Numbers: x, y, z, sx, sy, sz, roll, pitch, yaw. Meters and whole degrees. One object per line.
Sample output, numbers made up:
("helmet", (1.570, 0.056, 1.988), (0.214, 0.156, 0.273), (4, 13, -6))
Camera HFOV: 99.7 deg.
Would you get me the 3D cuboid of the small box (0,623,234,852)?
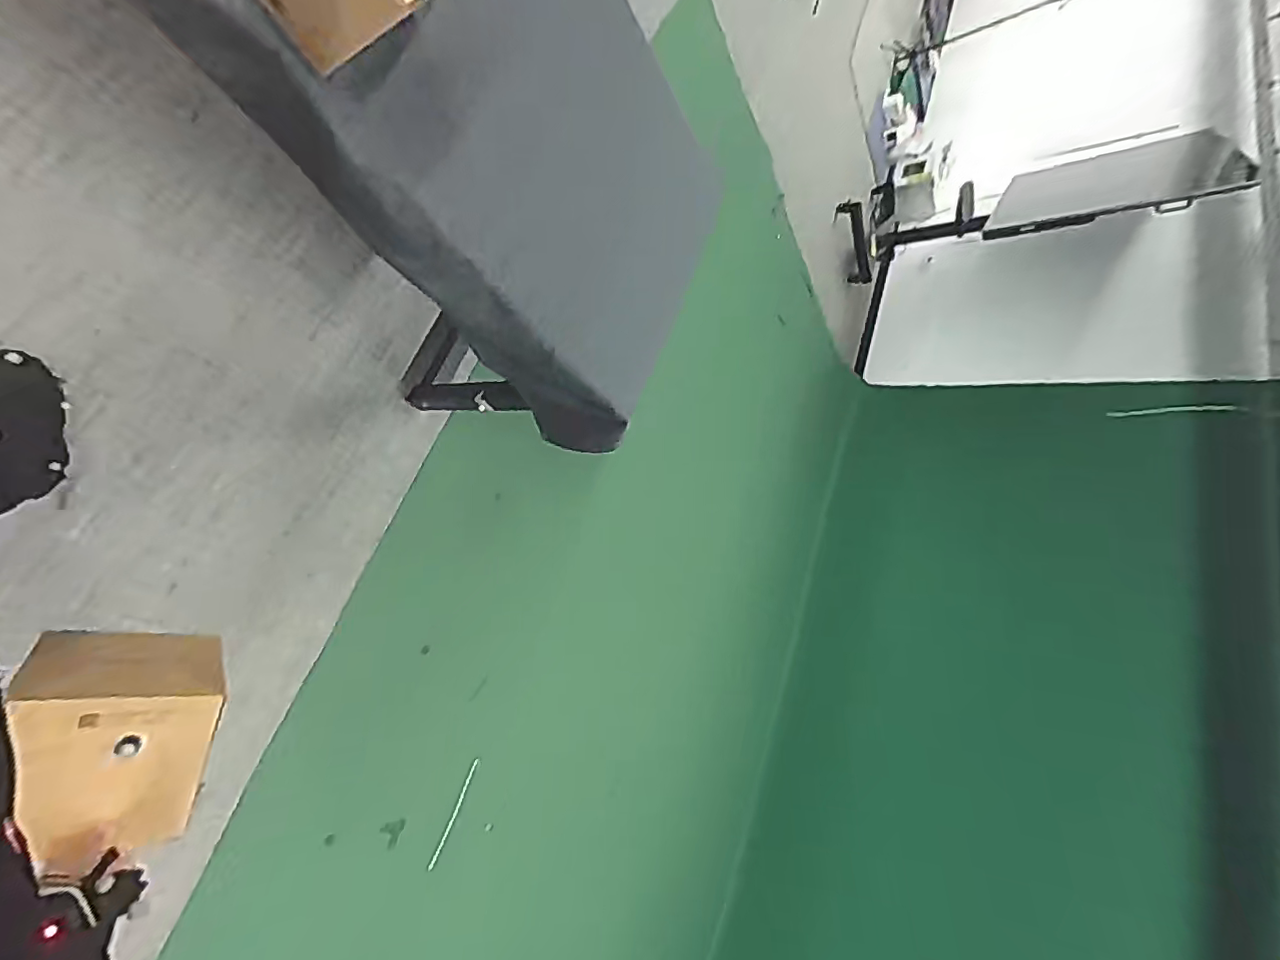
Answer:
("small box", (-0.581, 0.267, 0.609), (0.168, 0.179, 0.176), (16, 89, -40))
